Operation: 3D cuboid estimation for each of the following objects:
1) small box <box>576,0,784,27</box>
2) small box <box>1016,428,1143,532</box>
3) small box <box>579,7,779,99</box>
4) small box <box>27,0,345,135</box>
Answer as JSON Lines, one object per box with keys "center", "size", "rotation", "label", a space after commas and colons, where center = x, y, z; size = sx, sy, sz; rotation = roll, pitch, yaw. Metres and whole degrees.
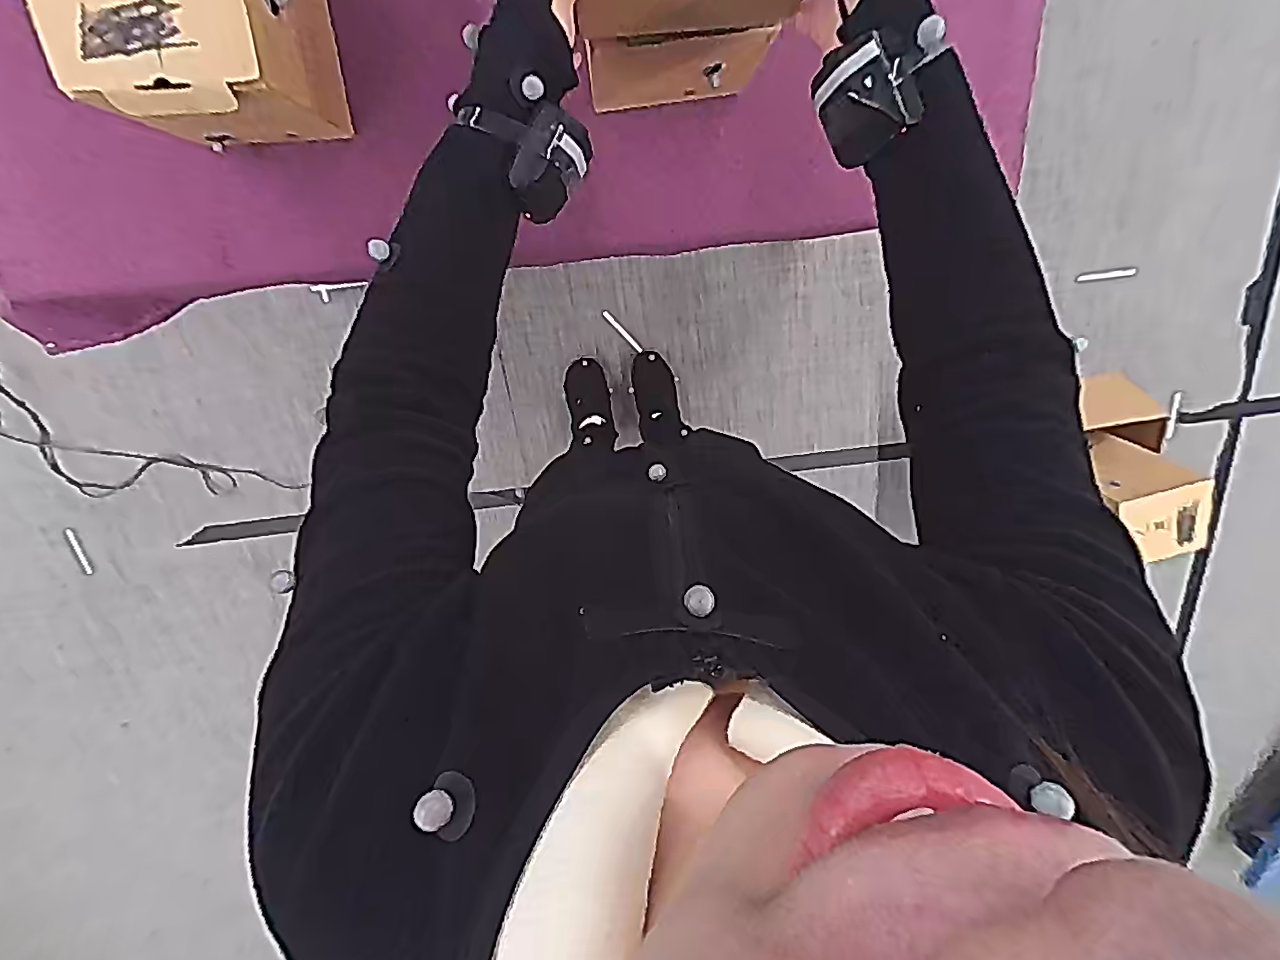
{"center": [0.033, -0.423, 0.341], "size": [0.179, 0.176, 0.168], "rotation": [-6, 109, -2], "label": "small box"}
{"center": [1.056, -0.011, 1.313], "size": [0.168, 0.176, 0.179], "rotation": [-26, 112, 10], "label": "small box"}
{"center": [0.023, -0.477, 0.498], "size": [0.168, 0.176, 0.179], "rotation": [-8, 110, -1], "label": "small box"}
{"center": [-0.398, -0.429, 0.488], "size": [0.168, 0.176, 0.179], "rotation": [-4, 109, -2], "label": "small box"}
